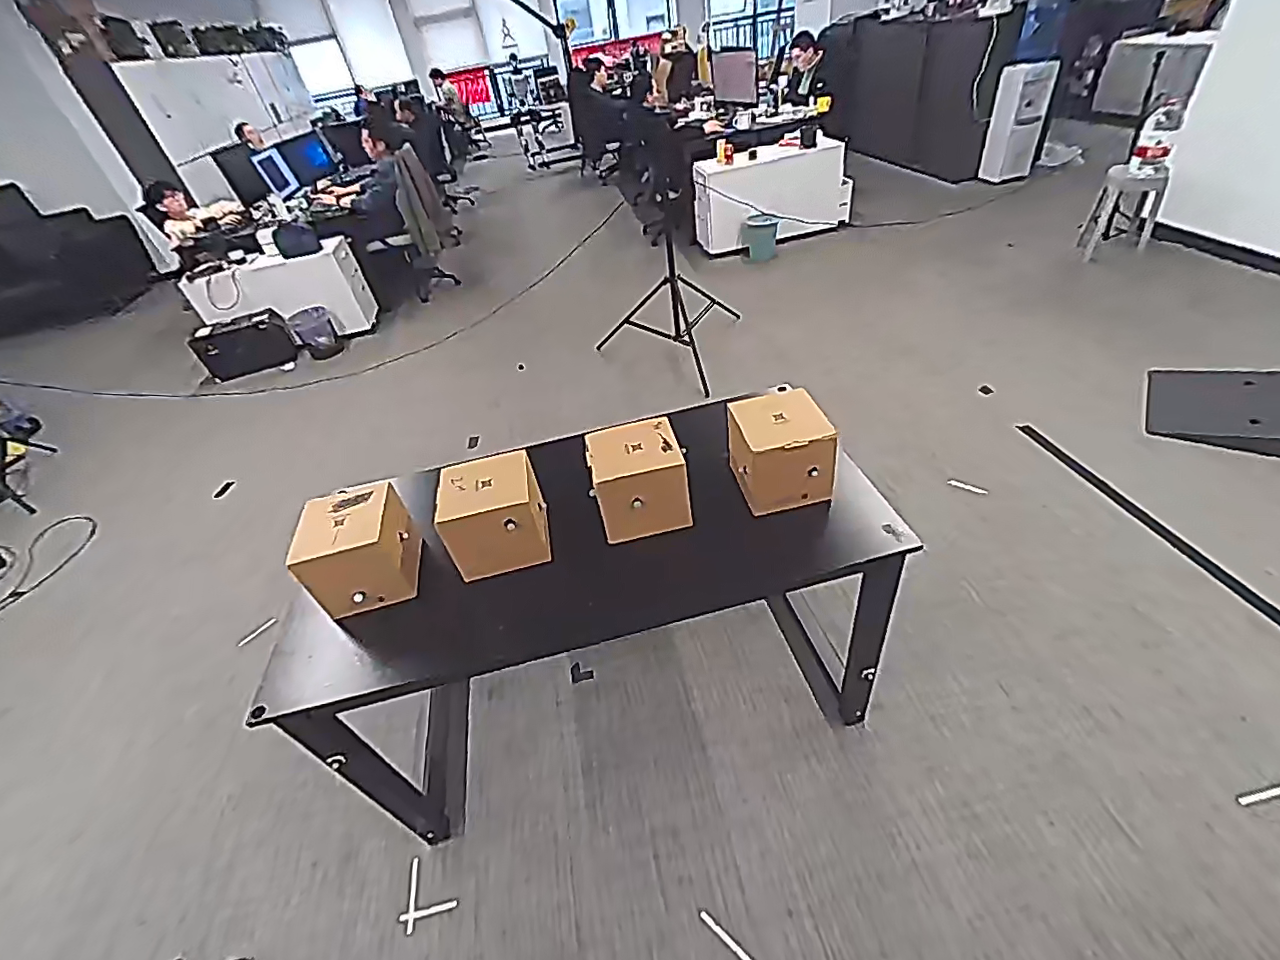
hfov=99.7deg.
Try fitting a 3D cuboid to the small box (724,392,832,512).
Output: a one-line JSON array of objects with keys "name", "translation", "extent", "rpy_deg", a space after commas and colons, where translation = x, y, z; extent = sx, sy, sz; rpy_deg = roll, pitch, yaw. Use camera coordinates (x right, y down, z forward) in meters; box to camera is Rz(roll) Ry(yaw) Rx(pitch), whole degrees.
[{"name": "small box", "translation": [0.277, -0.051, 1.108], "extent": [0.168, 0.176, 0.179], "rpy_deg": [-12, 39, -2]}]

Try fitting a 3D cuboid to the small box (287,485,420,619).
[{"name": "small box", "translation": [-0.549, 0.142, 1.067], "extent": [0.168, 0.176, 0.179], "rpy_deg": [-15, 42, -5]}]

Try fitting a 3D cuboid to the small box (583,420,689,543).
[{"name": "small box", "translation": [-0.008, 0.006, 1.105], "extent": [0.179, 0.176, 0.168], "rpy_deg": [-14, 40, -2]}]

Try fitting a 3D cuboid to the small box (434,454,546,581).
[{"name": "small box", "translation": [-0.292, 0.076, 1.085], "extent": [0.179, 0.176, 0.168], "rpy_deg": [-14, 40, -4]}]
